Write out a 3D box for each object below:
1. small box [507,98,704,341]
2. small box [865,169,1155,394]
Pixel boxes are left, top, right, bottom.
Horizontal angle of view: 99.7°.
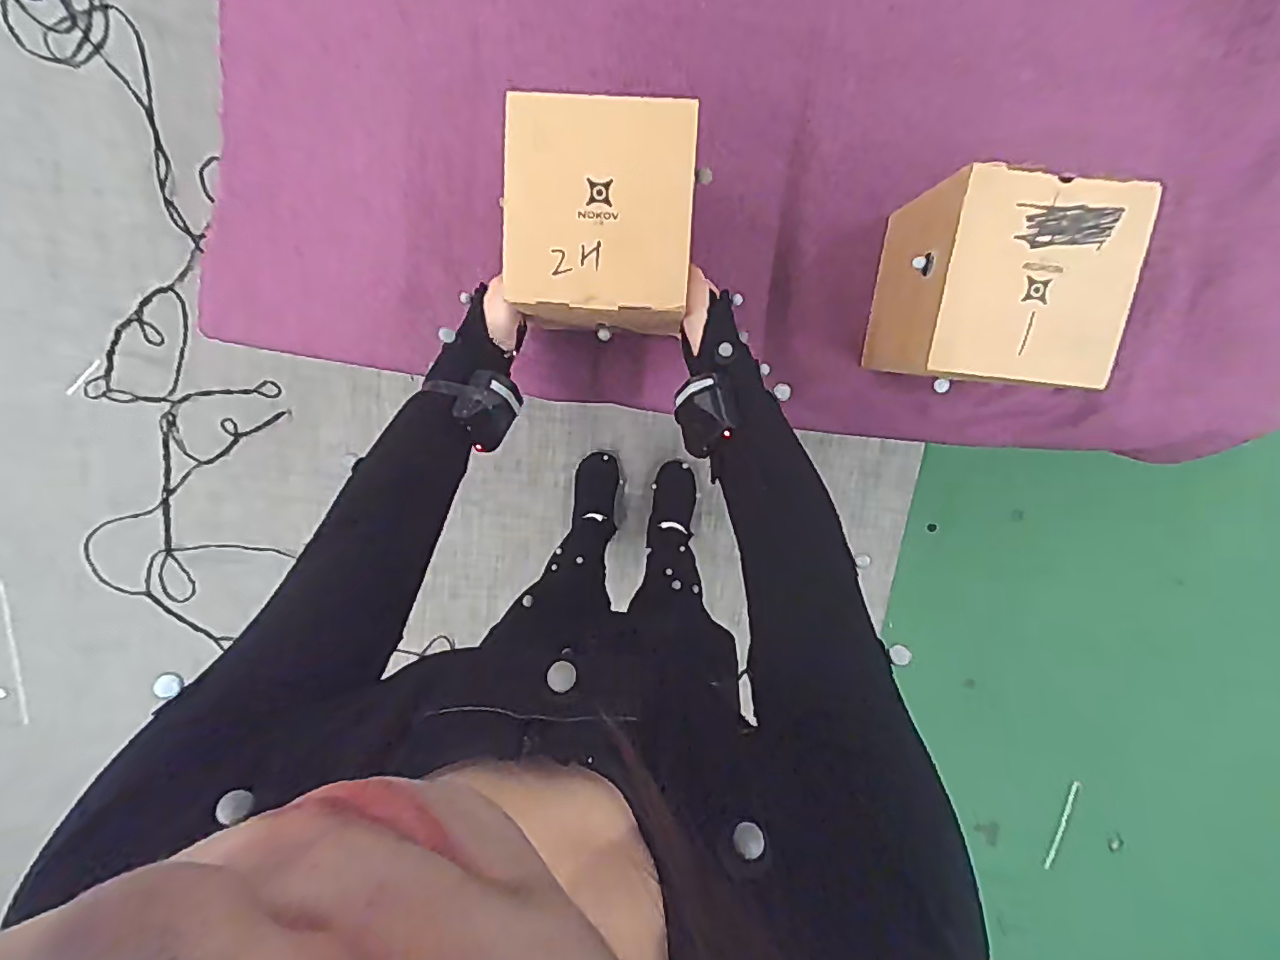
[{"bbox_3d":[-0.031,-0.245,0.550,0.168,0.176,0.179,3,98,1],"label":"small box"},{"bbox_3d":[0.354,-0.188,0.558,0.168,0.176,0.179,7,102,0],"label":"small box"}]
